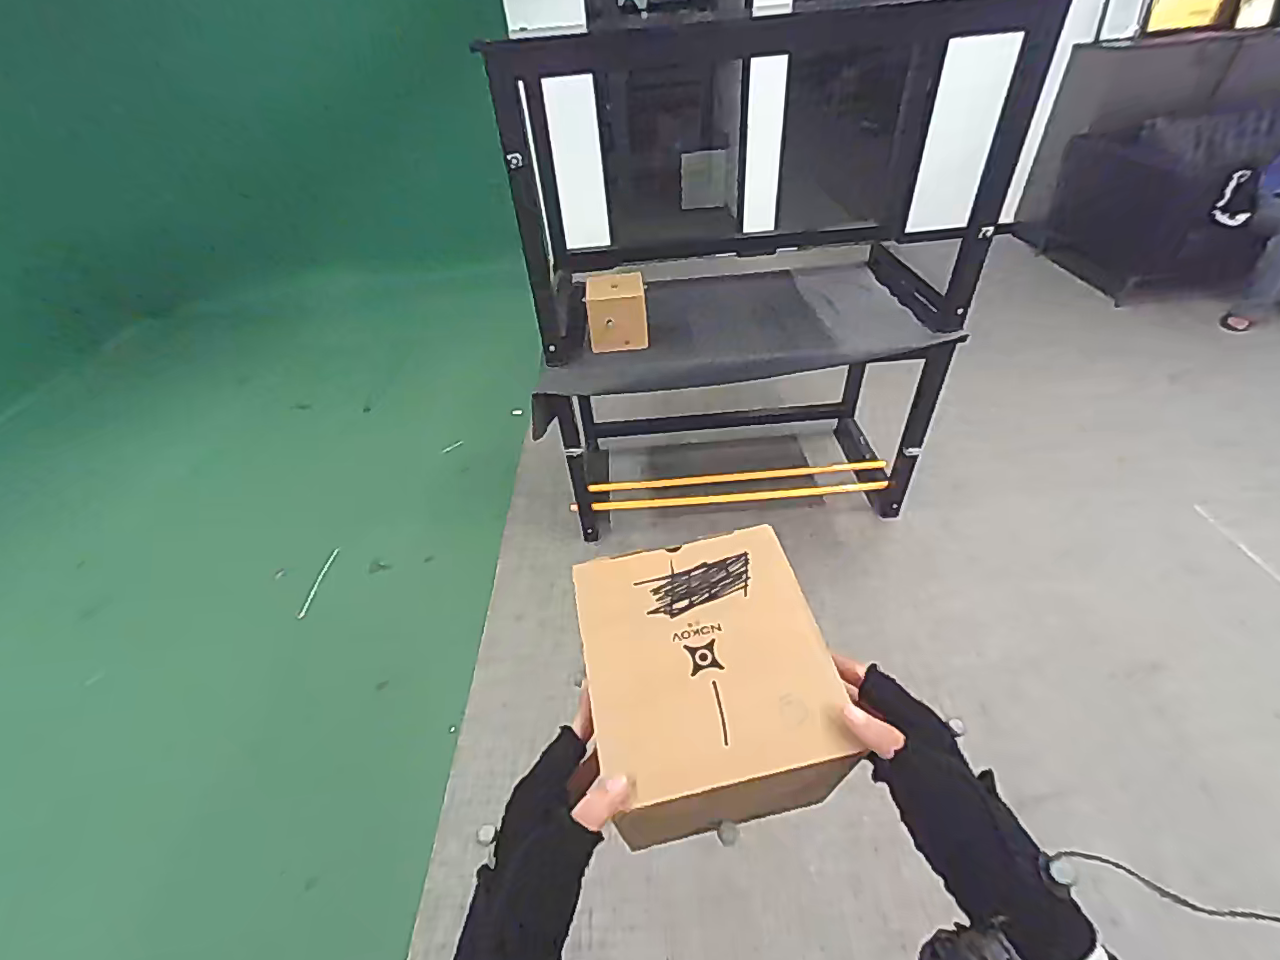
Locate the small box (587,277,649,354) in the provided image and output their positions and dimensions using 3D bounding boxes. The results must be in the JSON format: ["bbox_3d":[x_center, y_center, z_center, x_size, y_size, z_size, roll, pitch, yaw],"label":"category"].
[{"bbox_3d":[-0.064,-0.486,1.616,0.168,0.176,0.179,-5,40,0],"label":"small box"}]
